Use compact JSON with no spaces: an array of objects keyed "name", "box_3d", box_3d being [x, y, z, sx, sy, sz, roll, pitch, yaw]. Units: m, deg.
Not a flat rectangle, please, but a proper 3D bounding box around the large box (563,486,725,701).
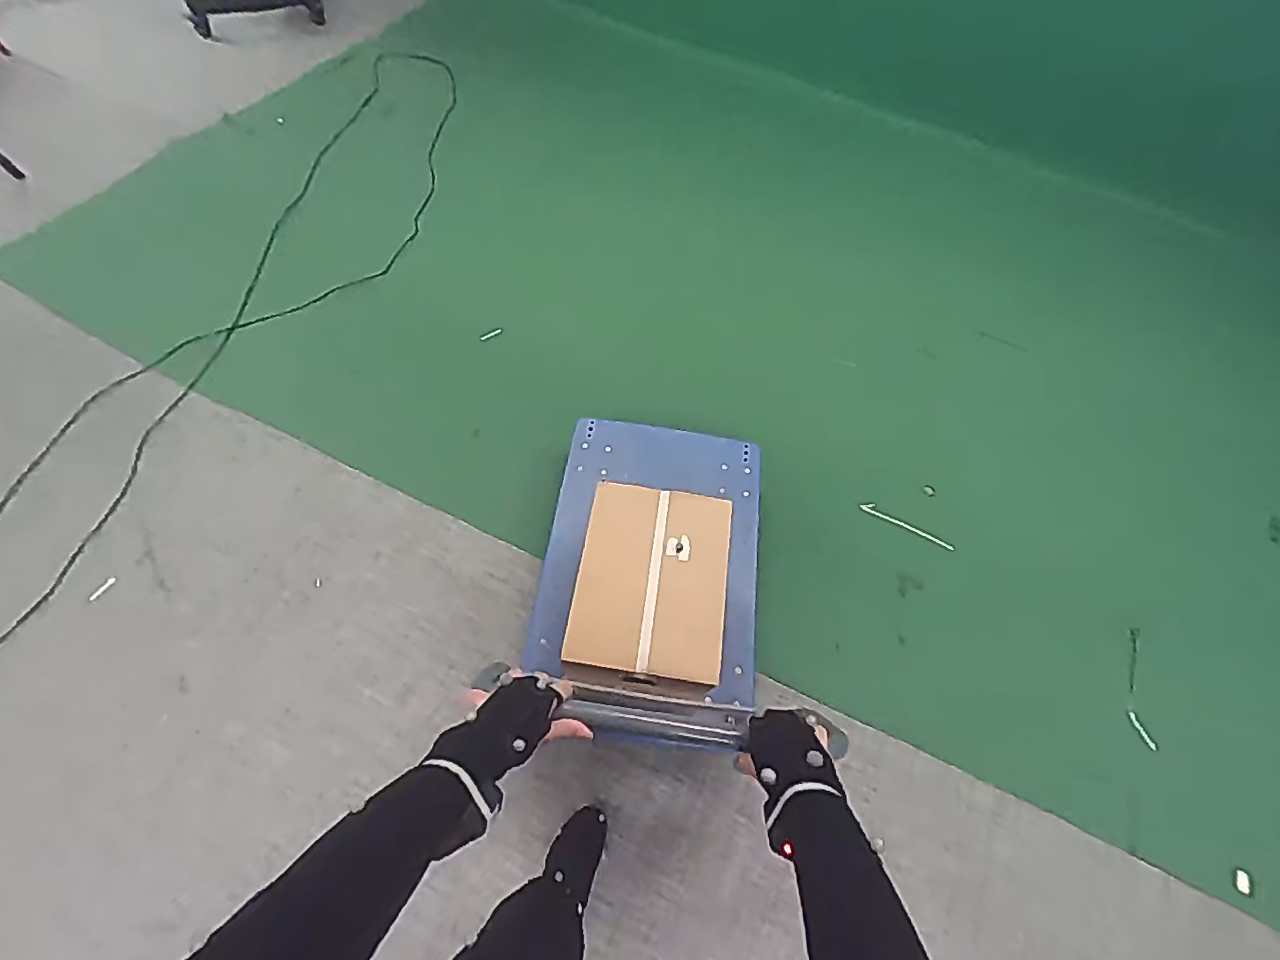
[{"name":"large box","box_3d":[0.014,0.277,1.285,0.320,0.320,0.408,9,60,0]}]
